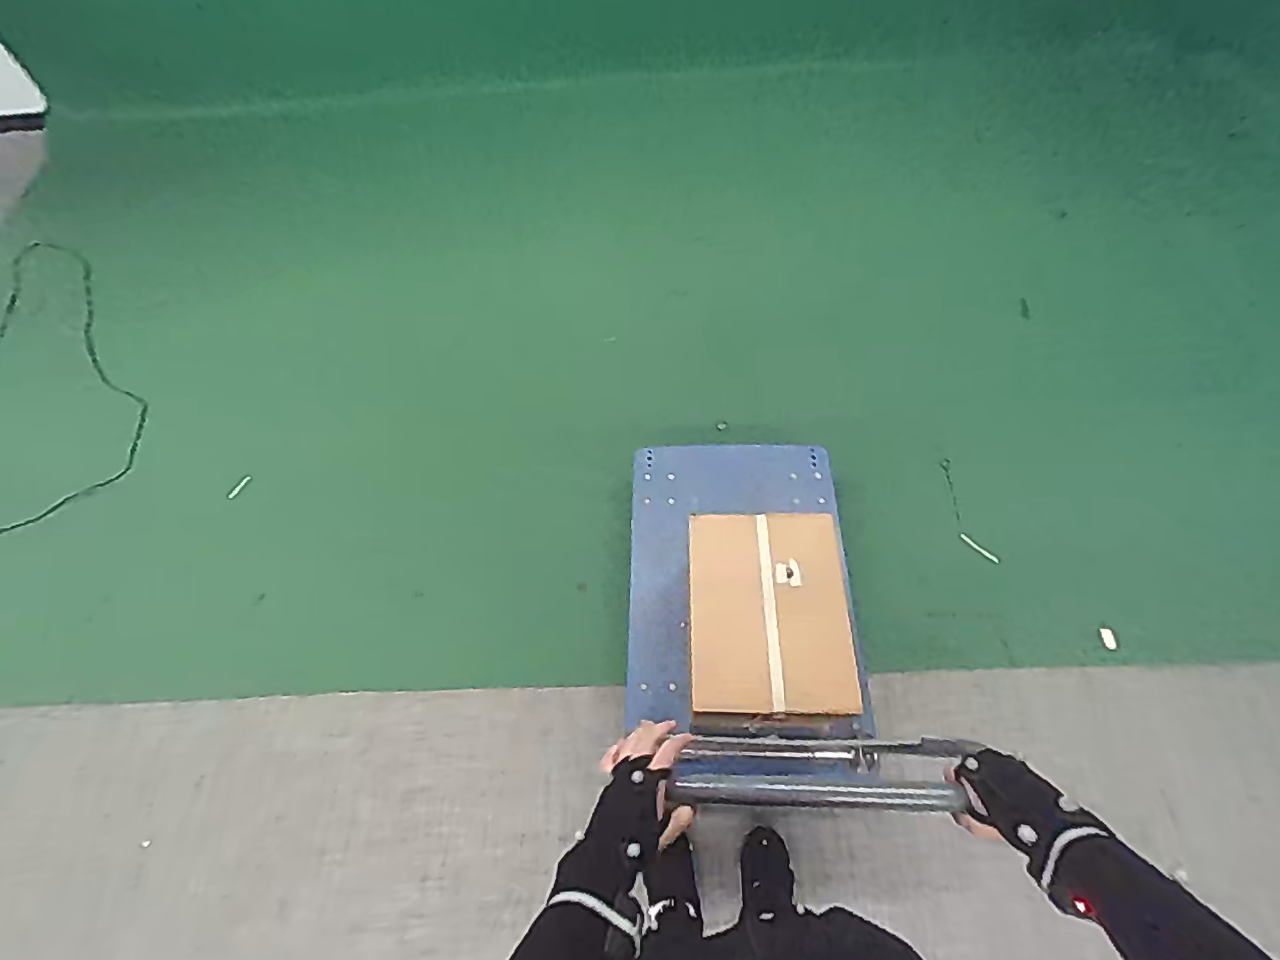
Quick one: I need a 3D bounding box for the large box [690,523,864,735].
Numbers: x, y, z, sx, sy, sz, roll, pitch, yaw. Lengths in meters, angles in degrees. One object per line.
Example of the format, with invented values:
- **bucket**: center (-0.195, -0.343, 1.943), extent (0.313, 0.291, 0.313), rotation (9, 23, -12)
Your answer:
- **large box**: center (0.270, 0.343, 1.215), extent (0.320, 0.320, 0.408), rotation (0, 60, 3)
